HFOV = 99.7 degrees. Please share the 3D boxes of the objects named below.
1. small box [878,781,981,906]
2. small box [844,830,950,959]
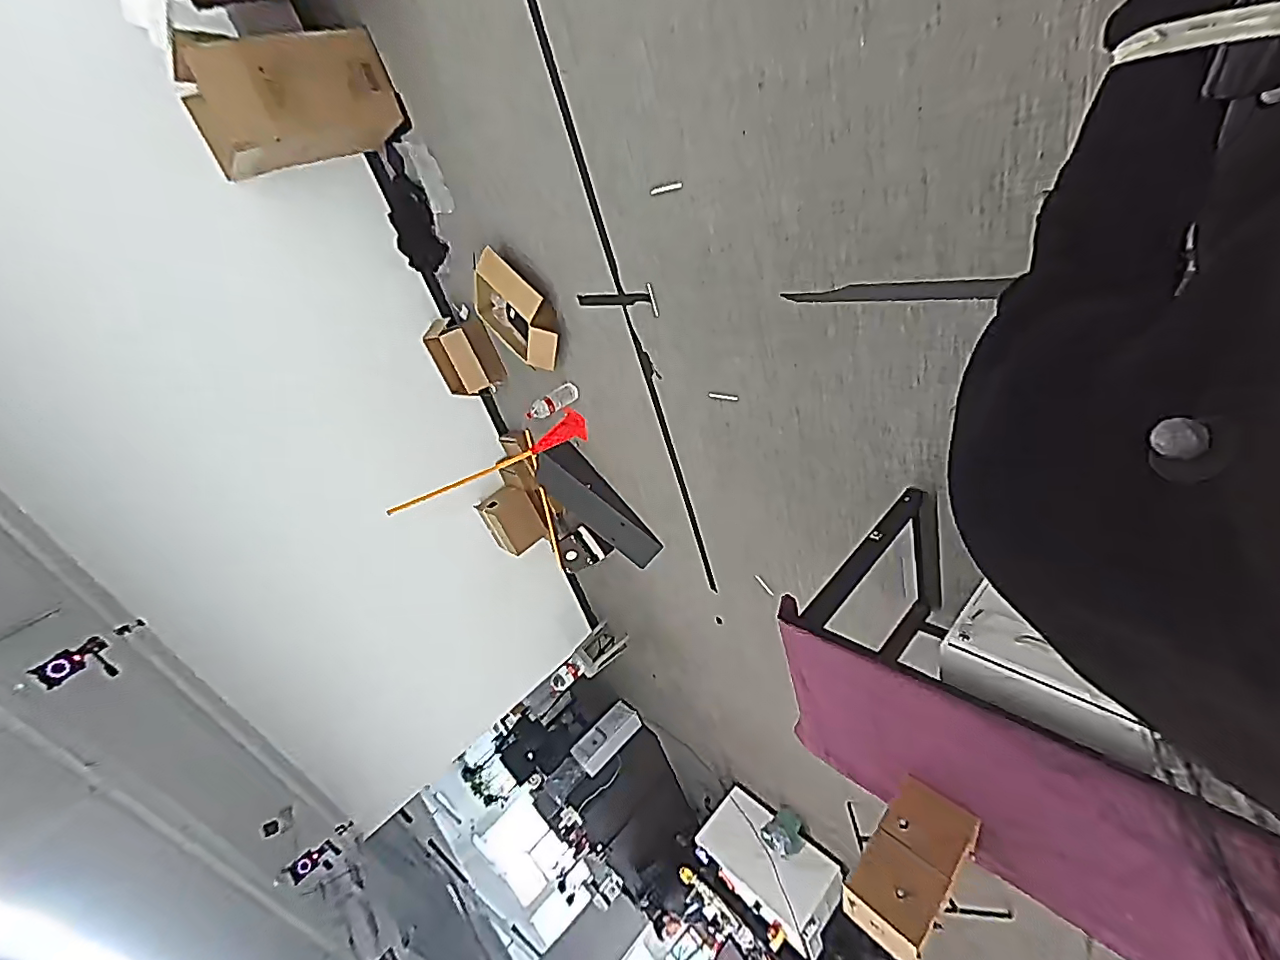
[{"bbox_3d":[0.718,0.893,1.351,0.179,0.176,0.168,21,138,44],"label":"small box"},{"bbox_3d":[0.603,0.980,1.272,0.179,0.176,0.168,22,138,43],"label":"small box"}]
